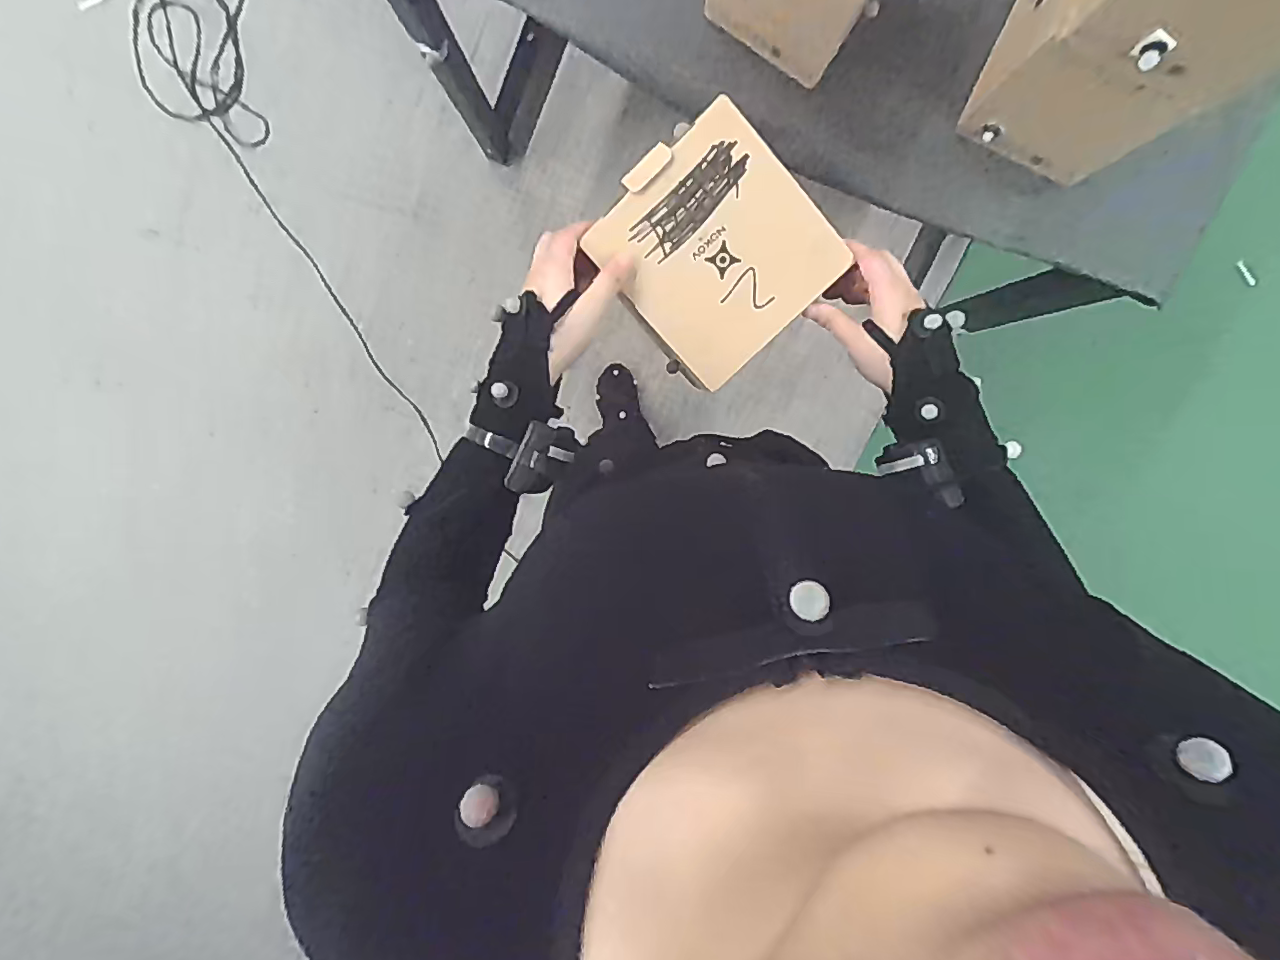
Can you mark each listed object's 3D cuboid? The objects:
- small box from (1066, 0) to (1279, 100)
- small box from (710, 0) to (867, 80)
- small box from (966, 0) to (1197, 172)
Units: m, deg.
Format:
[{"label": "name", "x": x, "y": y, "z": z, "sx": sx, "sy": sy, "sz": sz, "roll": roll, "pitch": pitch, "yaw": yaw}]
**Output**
[{"label": "small box", "x": 0.495, "y": -0.457, "z": 0.426, "sx": 0.168, "sy": 0.176, "sz": 0.179, "roll": 20, "pitch": 96, "yaw": -1}, {"label": "small box", "x": 0.190, "y": -0.592, "z": 0.574, "sx": 0.168, "sy": 0.176, "sz": 0.179, "roll": 32, "pitch": 94, "yaw": -4}, {"label": "small box", "x": 0.498, "y": -0.478, "z": 0.586, "sx": 0.168, "sy": 0.176, "sz": 0.179, "roll": 24, "pitch": 94, "yaw": -2}]
